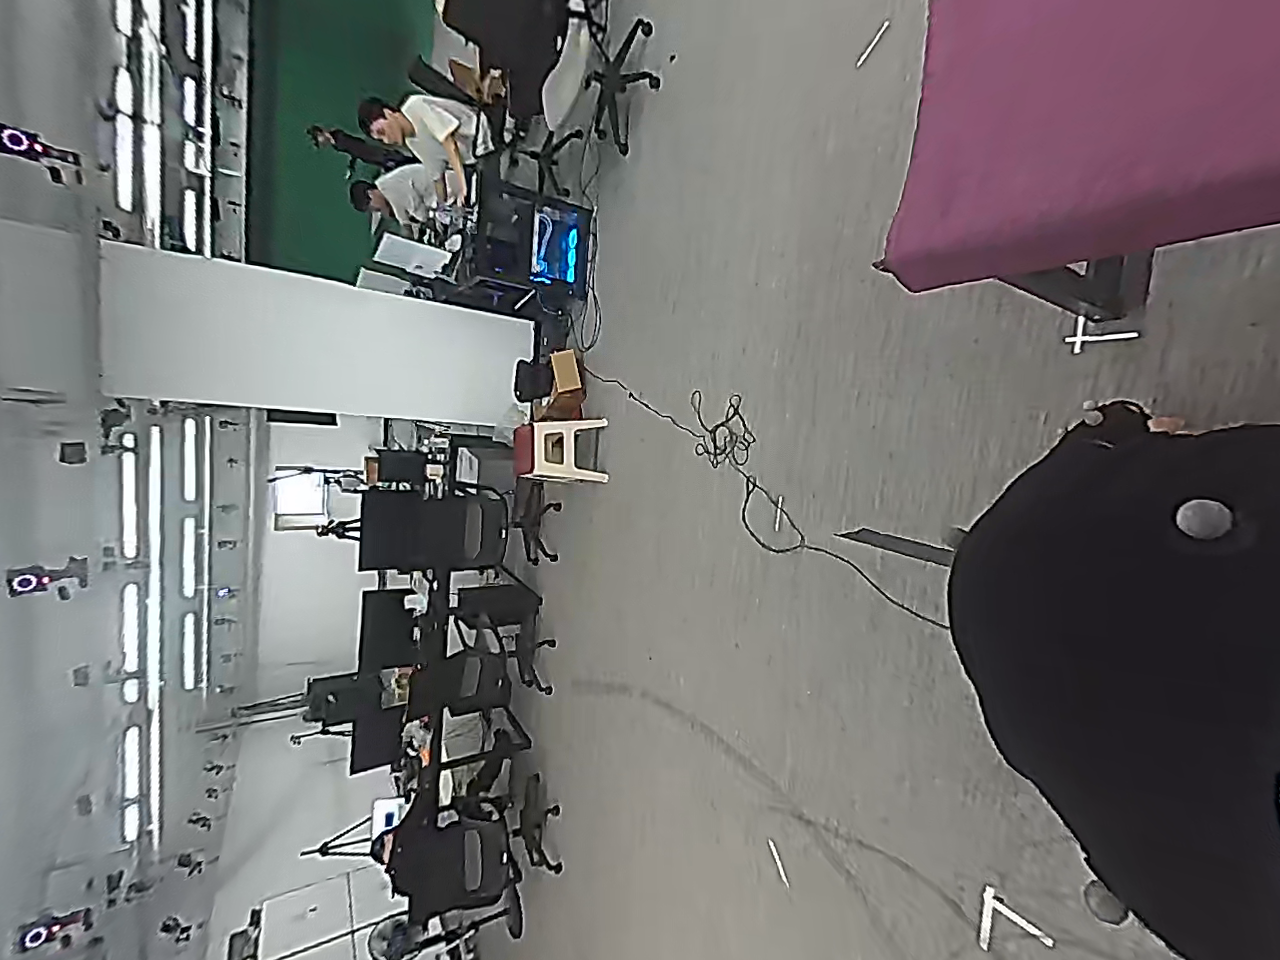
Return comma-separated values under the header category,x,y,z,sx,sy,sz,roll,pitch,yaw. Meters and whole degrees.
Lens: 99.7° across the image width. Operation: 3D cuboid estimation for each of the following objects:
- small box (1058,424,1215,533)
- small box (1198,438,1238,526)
category,x,y,z,sx,sy,sz,roll,pitch,yaw
small box,0.923,-0.006,1.005,0.168,0.176,0.179,15,102,57
small box,1.059,-0.007,1.098,0.168,0.176,0.179,25,109,56
